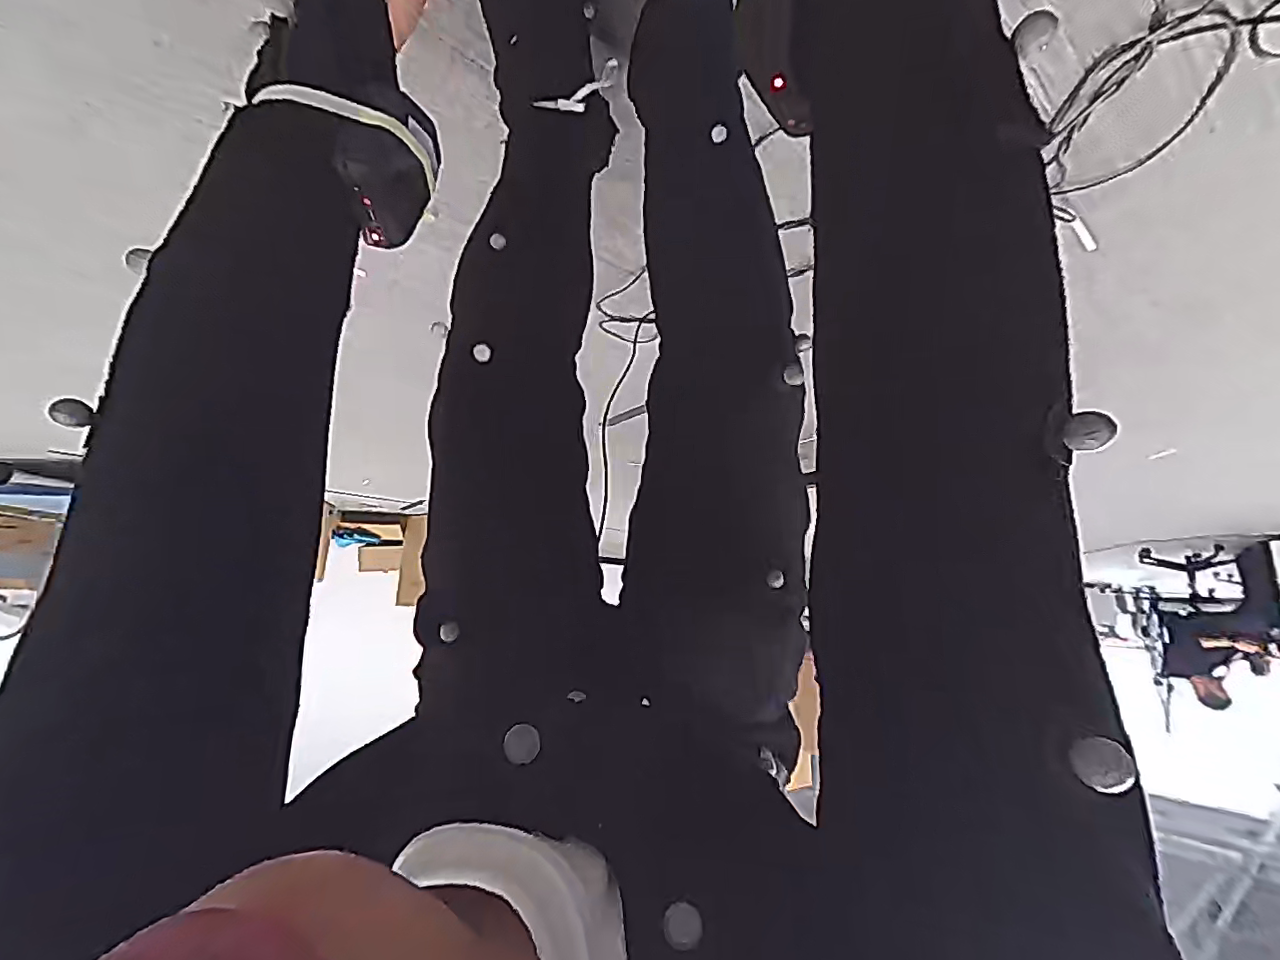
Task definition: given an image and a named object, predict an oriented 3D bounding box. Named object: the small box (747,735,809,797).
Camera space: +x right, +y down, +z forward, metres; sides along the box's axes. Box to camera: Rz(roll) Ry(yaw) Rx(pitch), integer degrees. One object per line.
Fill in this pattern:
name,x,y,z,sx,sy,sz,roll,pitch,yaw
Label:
small box,0.530,1.091,2.079,0.179,0.176,0.168,11,164,-31
